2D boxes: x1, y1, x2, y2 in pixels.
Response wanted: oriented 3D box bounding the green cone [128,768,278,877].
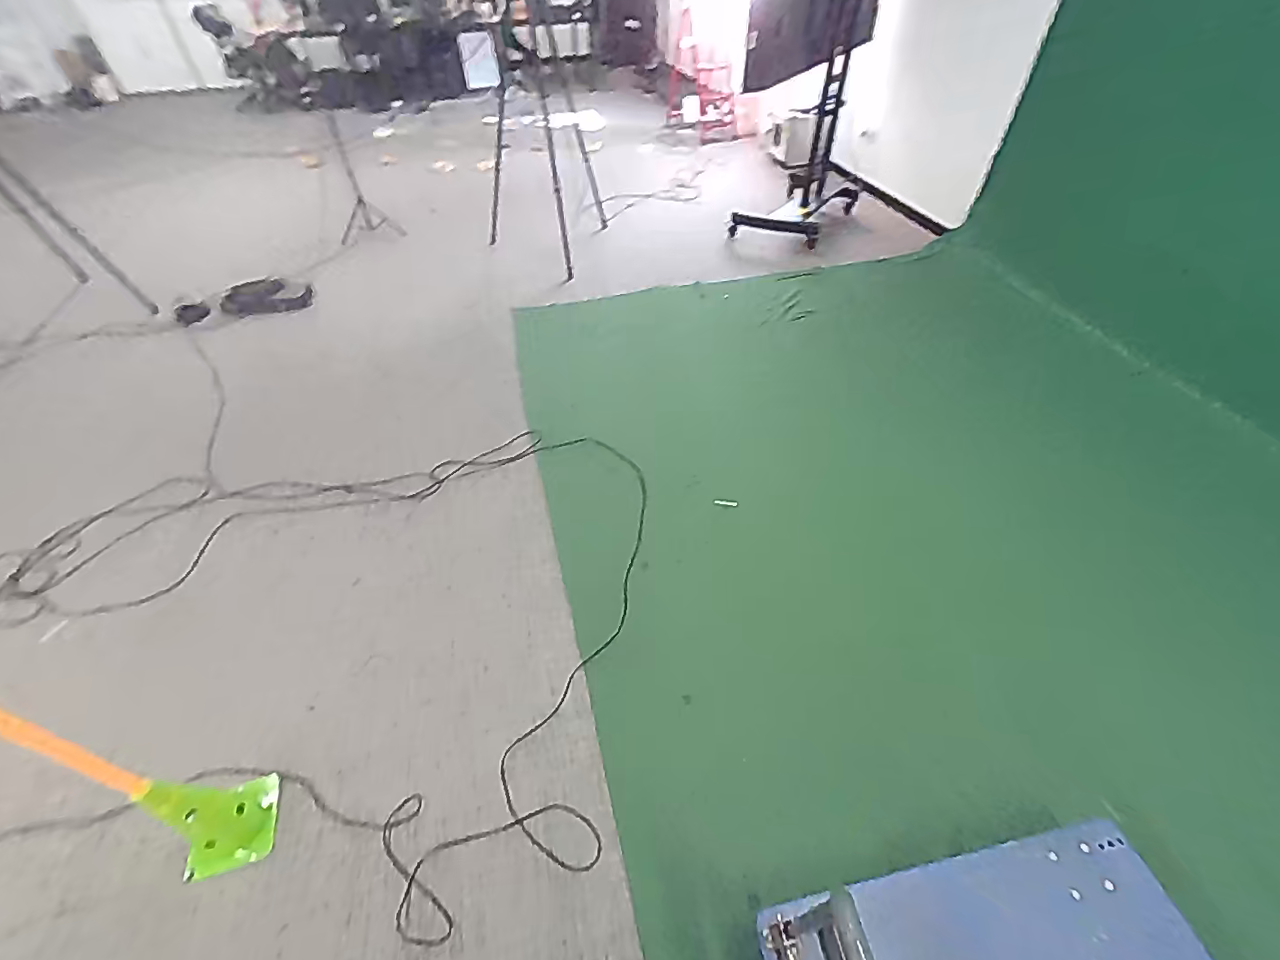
[{"bbox_3d":[-1.059,0.763,1.276,0.200,0.368,0.202,-15,47,-12],"label":"green cone"}]
